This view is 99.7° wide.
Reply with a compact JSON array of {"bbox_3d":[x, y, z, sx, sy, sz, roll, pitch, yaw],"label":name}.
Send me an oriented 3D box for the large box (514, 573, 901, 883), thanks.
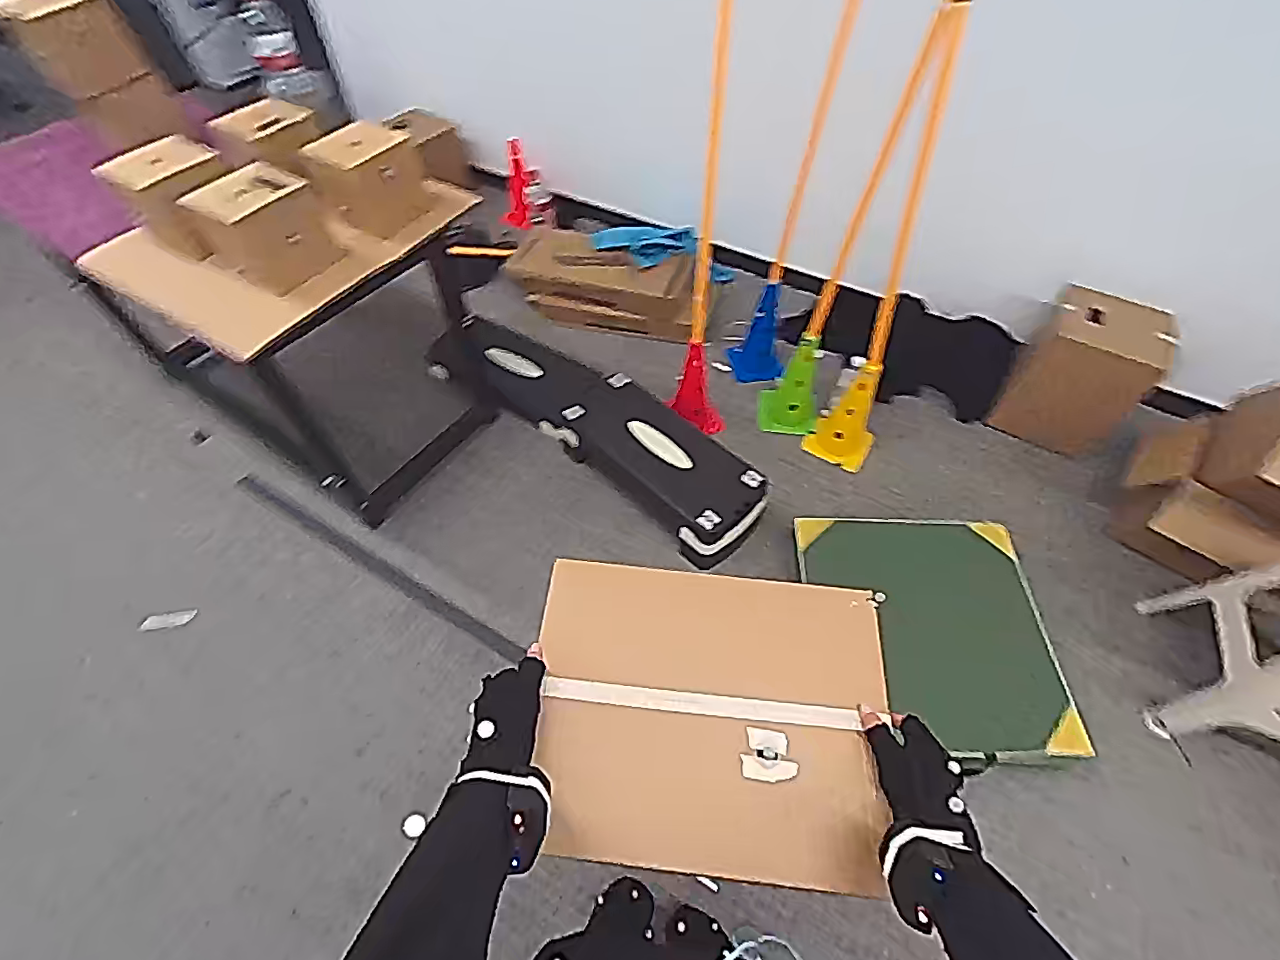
[{"bbox_3d":[0.072,0.343,0.750,0.408,0.320,0.320,5,58,1],"label":"large box"}]
